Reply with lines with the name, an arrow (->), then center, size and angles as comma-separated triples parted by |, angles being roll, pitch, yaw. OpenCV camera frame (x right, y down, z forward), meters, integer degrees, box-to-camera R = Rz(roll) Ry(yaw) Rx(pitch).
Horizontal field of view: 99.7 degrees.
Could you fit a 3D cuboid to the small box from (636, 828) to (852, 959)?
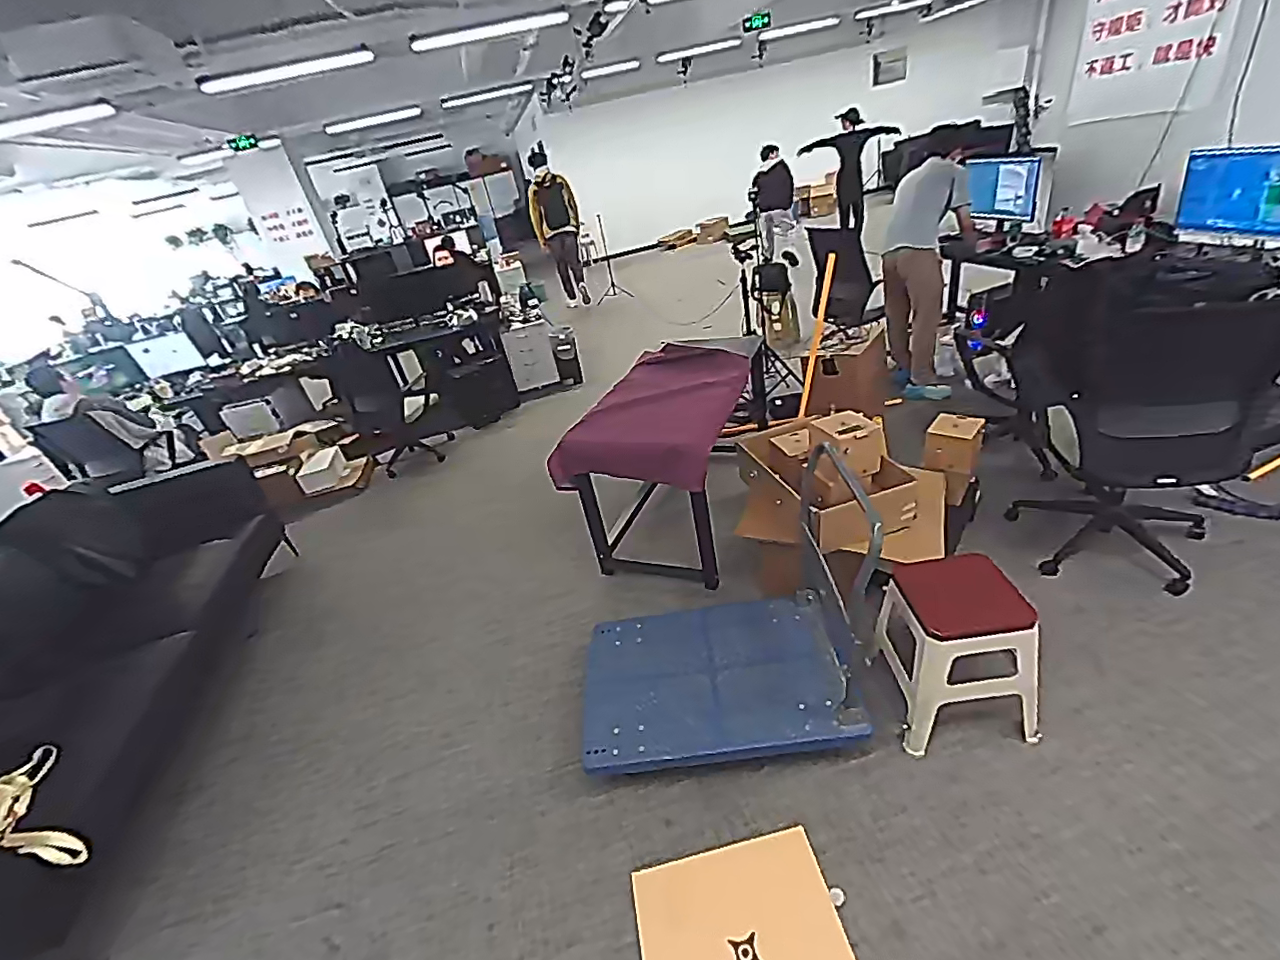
small box -> 0.099, 0.454, 0.475 | 0.168, 0.176, 0.179 | -14, 32, -1
